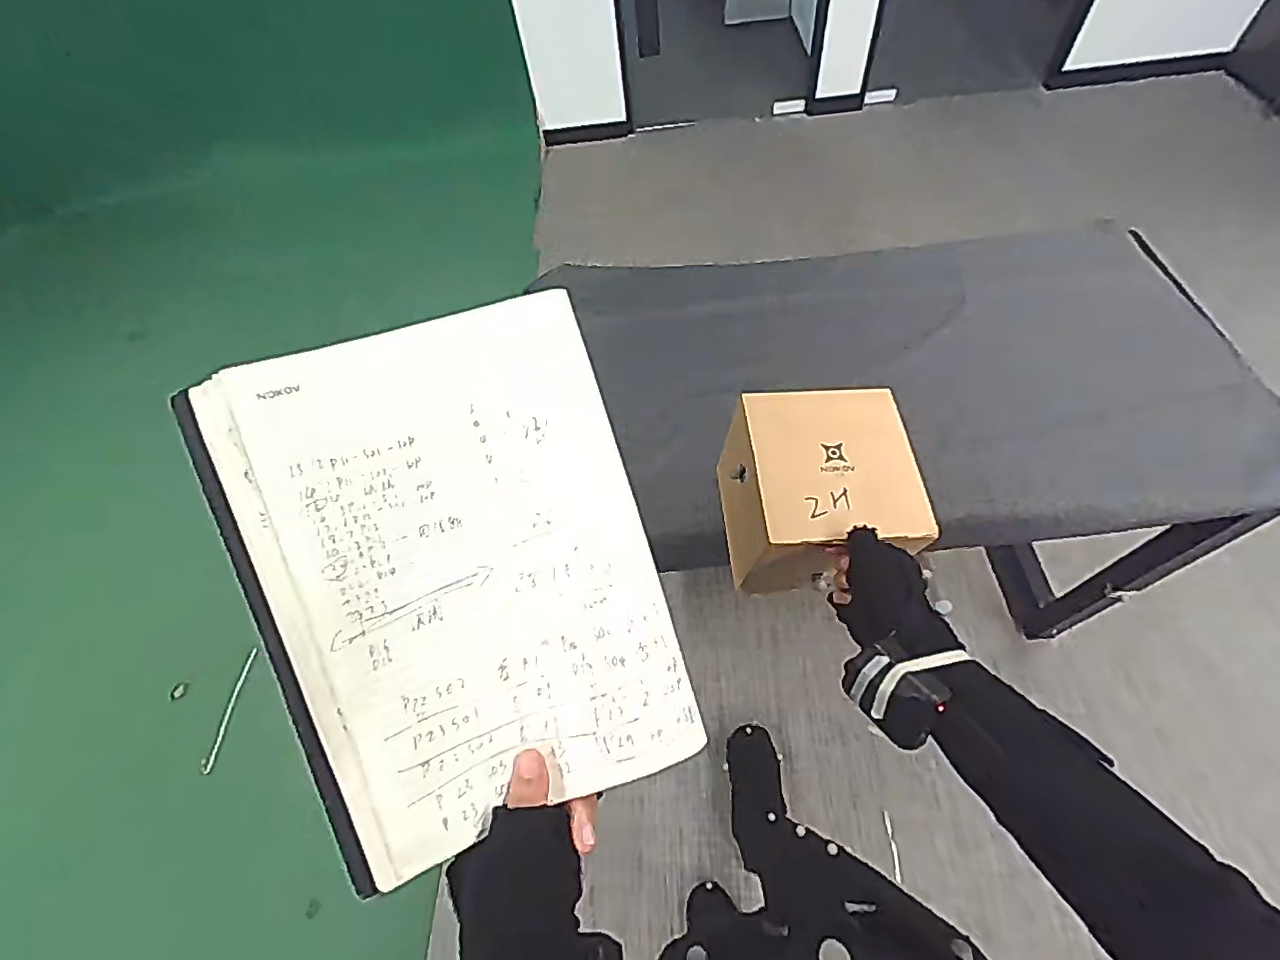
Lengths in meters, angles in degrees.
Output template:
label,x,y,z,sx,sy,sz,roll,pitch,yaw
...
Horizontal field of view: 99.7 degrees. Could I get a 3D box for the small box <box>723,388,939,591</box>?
label,x,y,z,sx,sy,sz,roll,pitch,yaw
small box,0.196,0.015,0.618,0.168,0.176,0.179,-3,62,-3
